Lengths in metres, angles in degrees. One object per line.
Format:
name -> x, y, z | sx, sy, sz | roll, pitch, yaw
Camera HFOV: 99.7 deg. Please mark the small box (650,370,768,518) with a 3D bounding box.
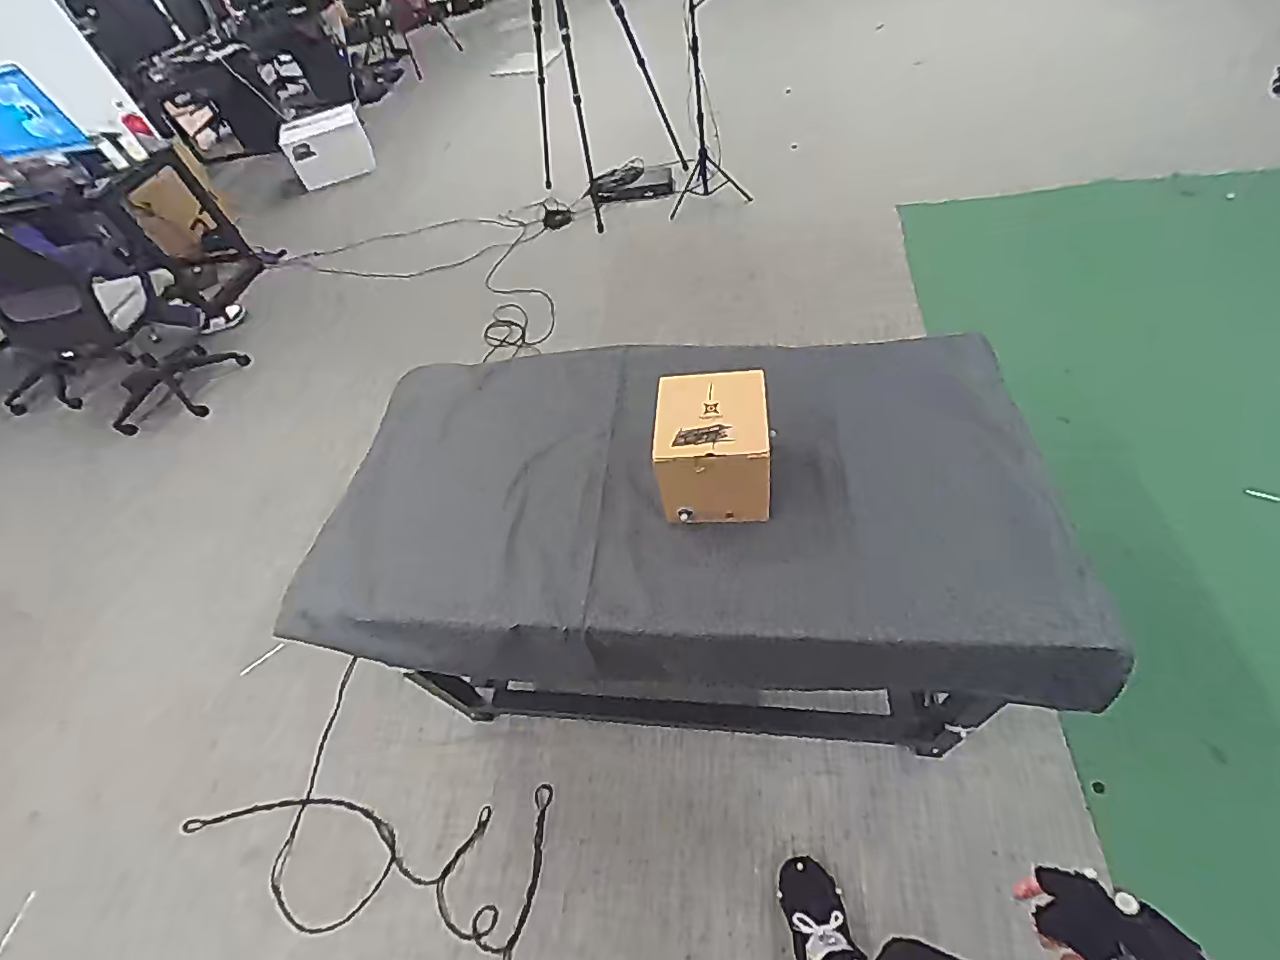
small box -> 0.116, -0.050, 0.861 | 0.168, 0.176, 0.179 | -2, 51, 11
